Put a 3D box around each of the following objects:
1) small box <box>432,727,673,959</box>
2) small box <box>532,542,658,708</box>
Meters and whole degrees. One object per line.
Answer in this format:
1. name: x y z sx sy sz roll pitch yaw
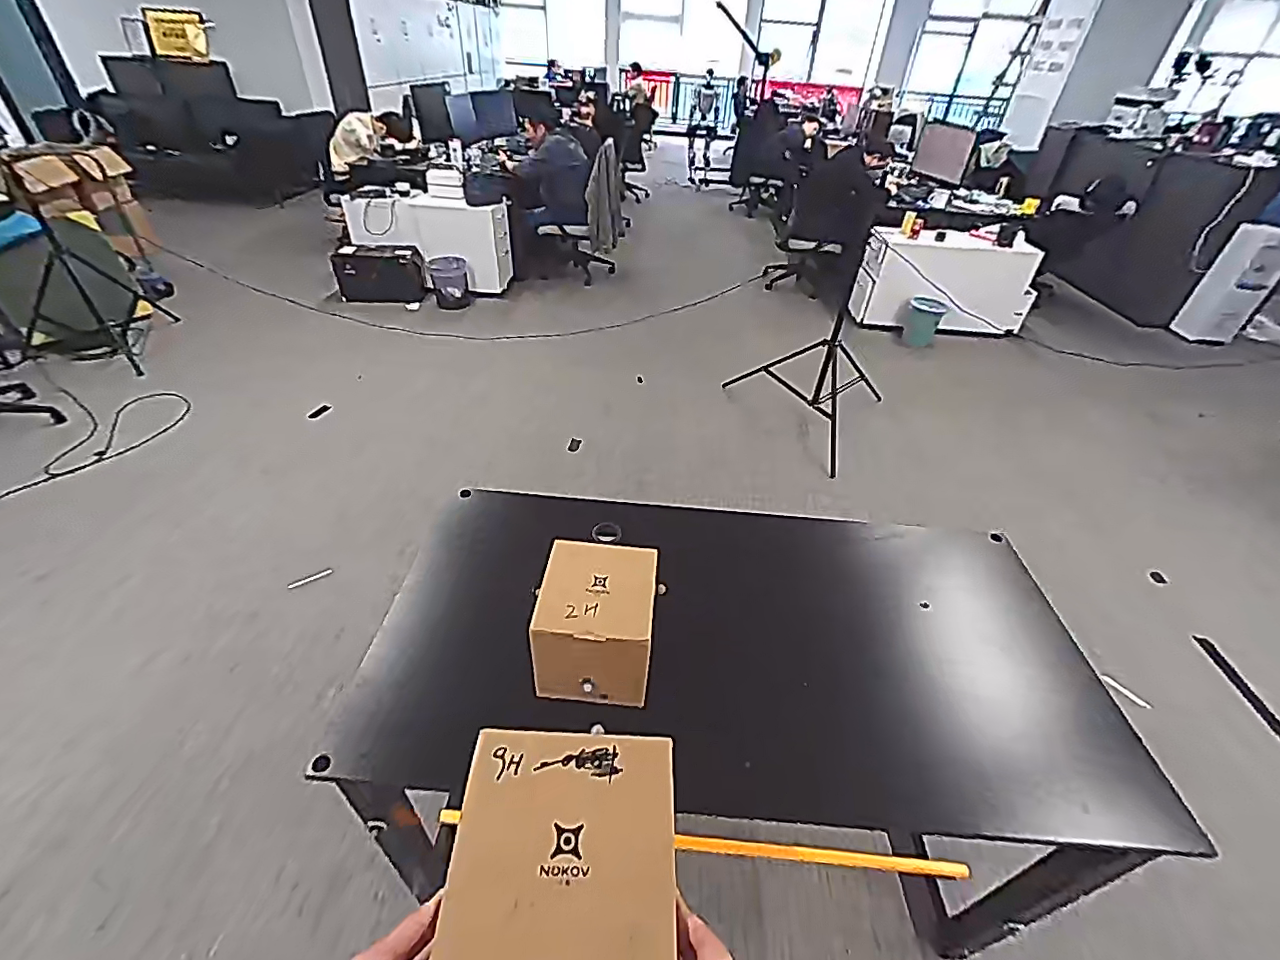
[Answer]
1. small box: -0.061 0.332 0.461 0.168 0.176 0.179 4 46 -3
2. small box: -0.065 0.222 0.837 0.168 0.176 0.179 5 39 2
